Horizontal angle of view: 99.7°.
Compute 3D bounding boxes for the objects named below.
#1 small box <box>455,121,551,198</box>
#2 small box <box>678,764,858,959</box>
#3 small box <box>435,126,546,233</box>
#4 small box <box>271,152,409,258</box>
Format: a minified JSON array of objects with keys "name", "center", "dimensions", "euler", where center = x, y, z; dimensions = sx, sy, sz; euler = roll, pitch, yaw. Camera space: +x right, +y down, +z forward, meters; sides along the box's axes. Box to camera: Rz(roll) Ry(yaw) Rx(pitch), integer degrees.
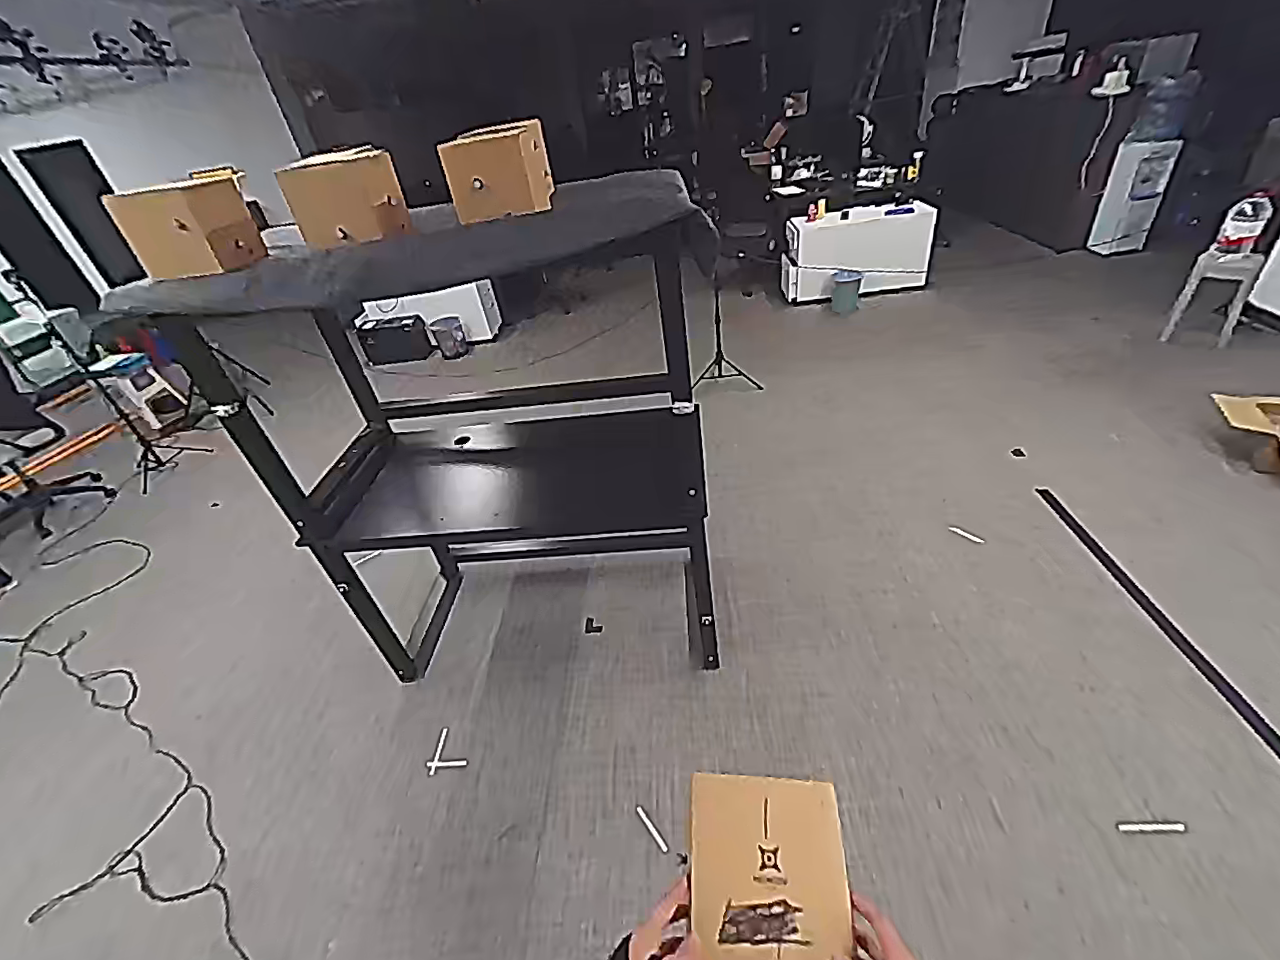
[{"name":"small box","center":[-0.342,-0.804,1.385],"dimensions":[0.179,0.176,0.168],"euler":[-5,37,6]},{"name":"small box","center":[0.131,0.447,0.621],"dimensions":[0.168,0.176,0.179],"euler":[2,49,2]},{"name":"small box","center":[-0.307,-0.637,1.152],"dimensions":[0.168,0.176,0.179],"euler":[-7,35,5]},{"name":"small box","center":[-0.628,-0.589,1.161],"dimensions":[0.179,0.176,0.168],"euler":[-5,35,5]}]
